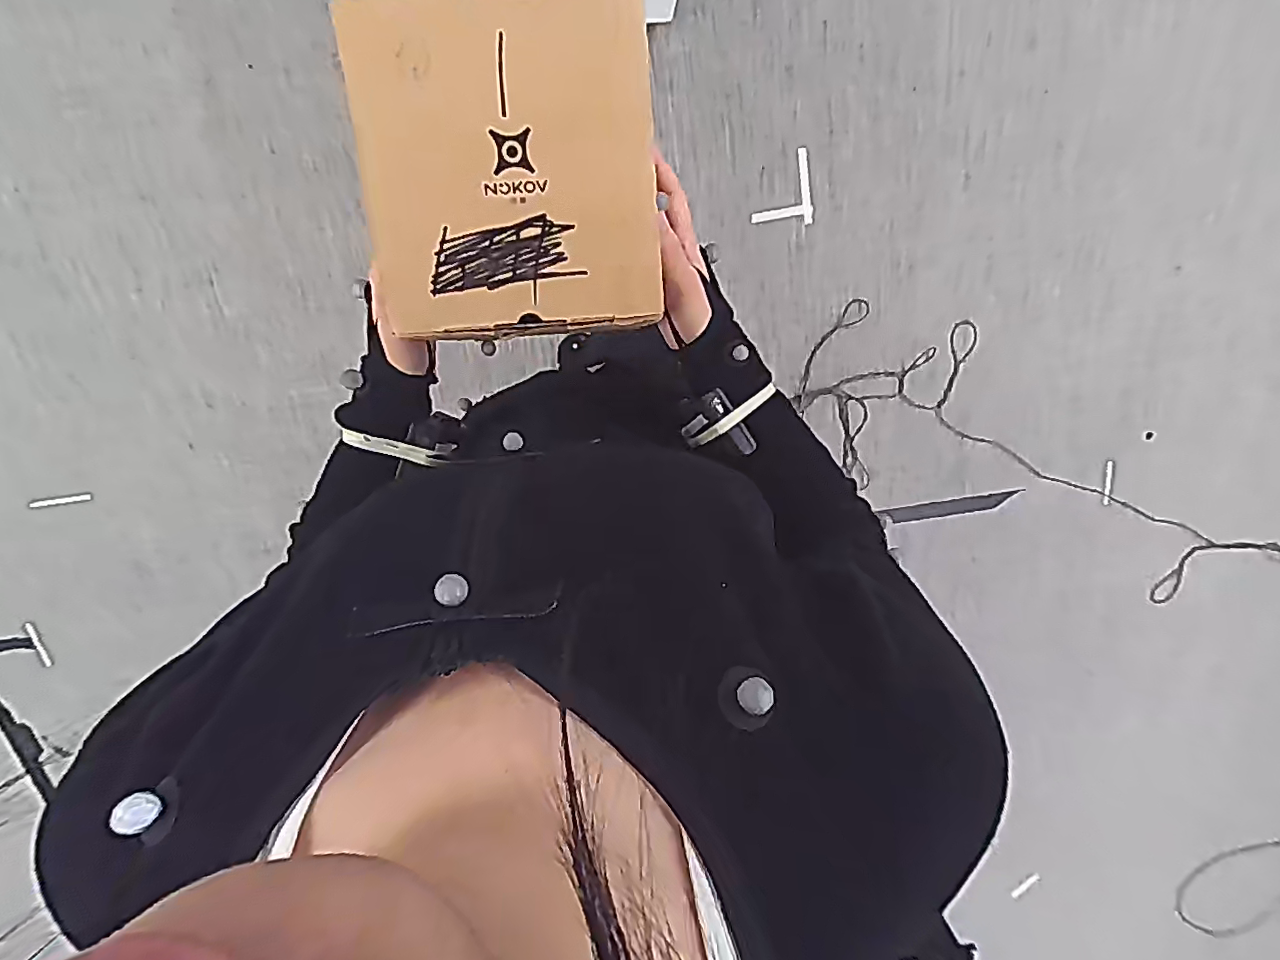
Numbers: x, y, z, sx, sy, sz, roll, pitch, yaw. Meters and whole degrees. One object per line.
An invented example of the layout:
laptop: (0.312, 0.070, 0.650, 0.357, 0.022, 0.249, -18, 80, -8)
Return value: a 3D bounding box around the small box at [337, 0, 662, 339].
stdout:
small box: (-0.078, -0.195, 0.383, 0.168, 0.176, 0.179, -6, 103, -4)
